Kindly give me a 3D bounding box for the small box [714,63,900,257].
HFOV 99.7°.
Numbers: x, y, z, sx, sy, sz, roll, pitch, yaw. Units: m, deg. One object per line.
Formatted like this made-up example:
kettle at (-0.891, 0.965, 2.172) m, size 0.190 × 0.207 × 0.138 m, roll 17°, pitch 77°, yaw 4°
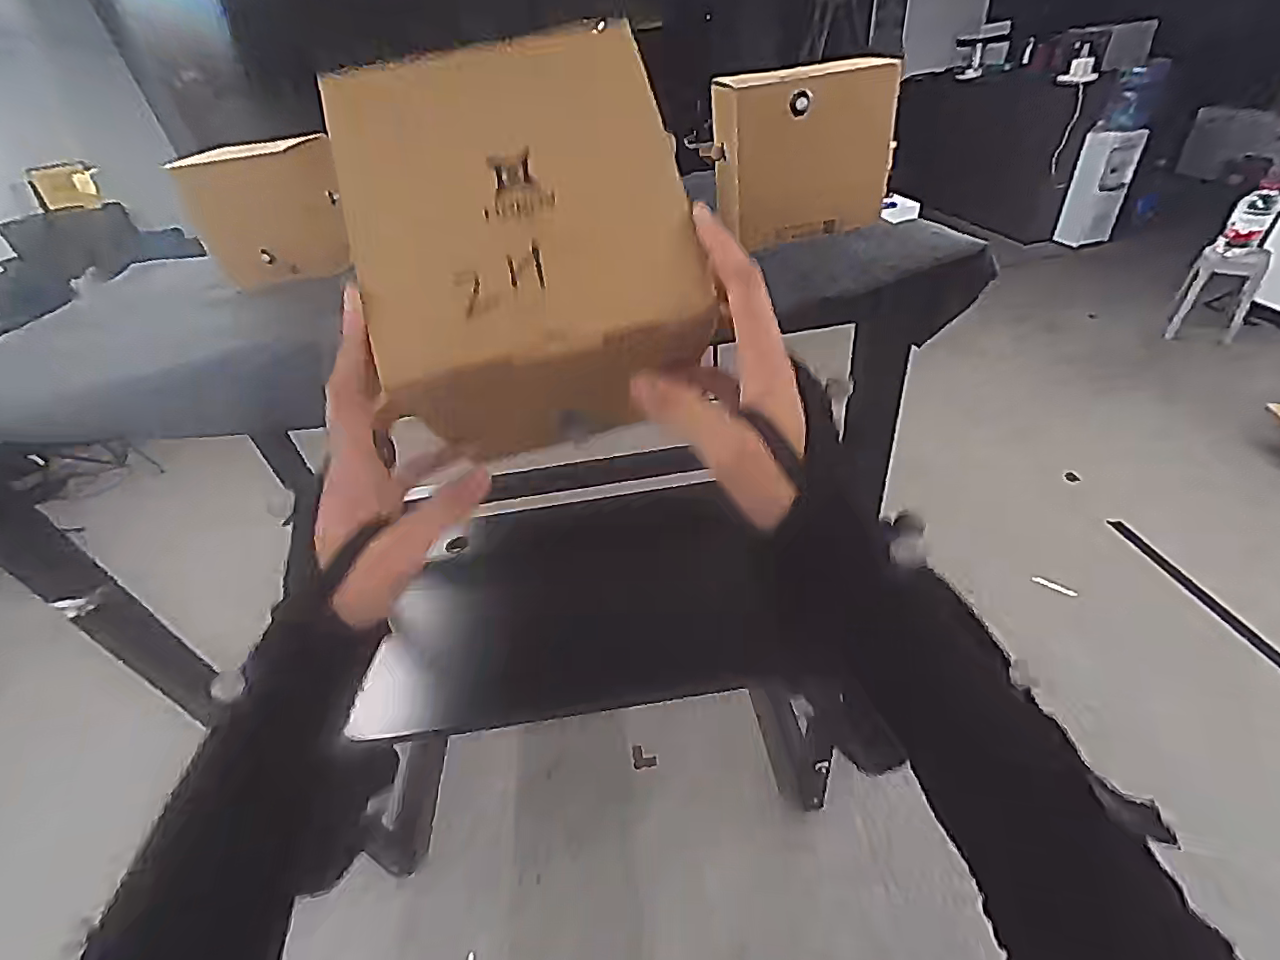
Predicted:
small box at (0.183, -0.380, 0.647) m, size 0.168 × 0.176 × 0.179 m, roll -8°, pitch 37°, yaw 3°
